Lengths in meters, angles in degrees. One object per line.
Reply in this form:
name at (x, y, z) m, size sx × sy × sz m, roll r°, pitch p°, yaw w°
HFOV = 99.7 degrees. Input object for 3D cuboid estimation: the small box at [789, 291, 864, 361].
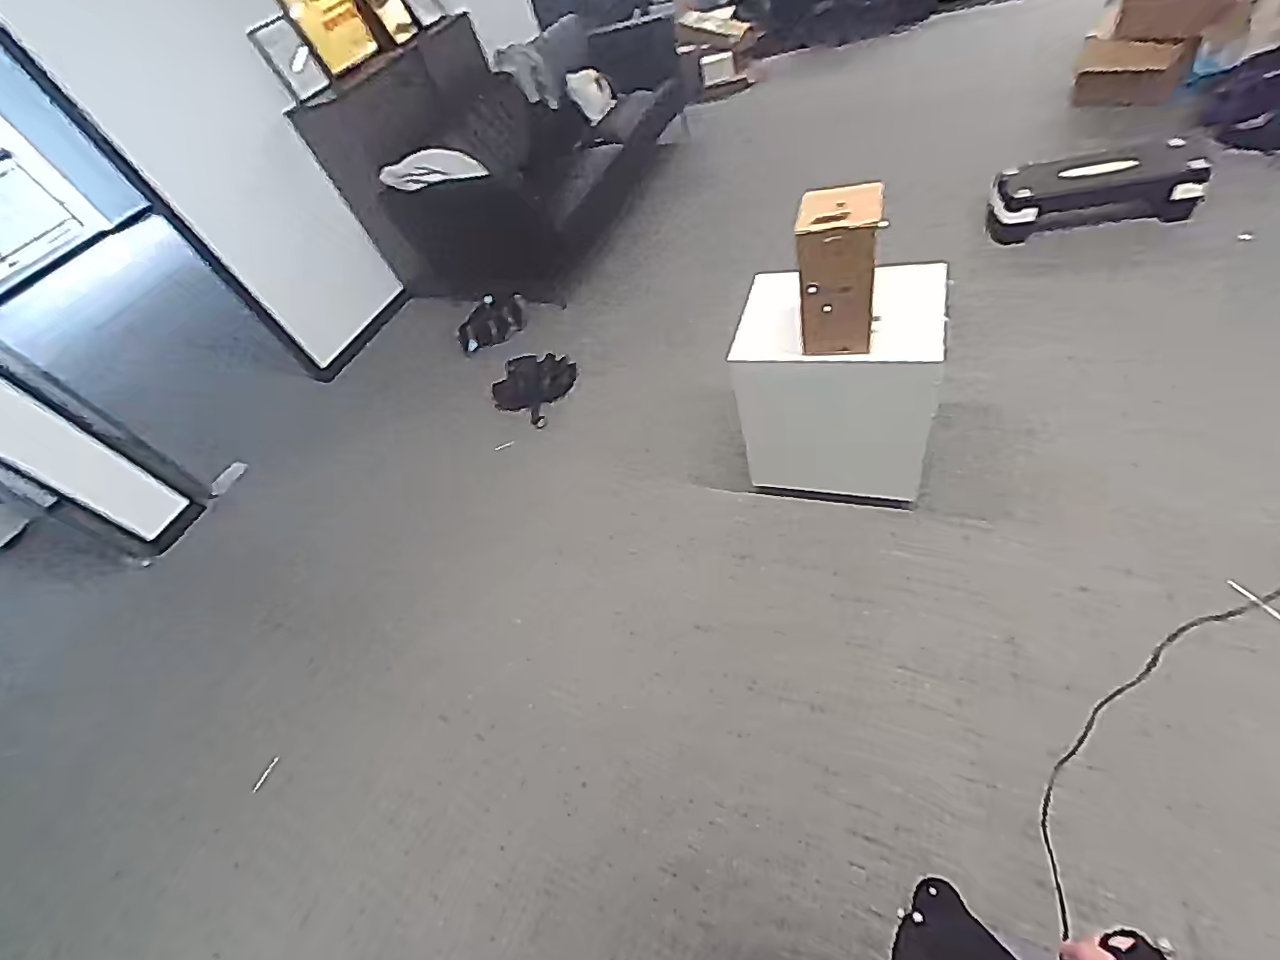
small box at (0.470, -0.418, 1.354) m, size 0.168 × 0.176 × 0.179 m, roll 2°, pitch 51°, yaw 22°

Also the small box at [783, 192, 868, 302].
small box at (0.426, -0.522, 1.233) m, size 0.168 × 0.176 × 0.179 m, roll 3°, pitch 51°, yaw 22°
